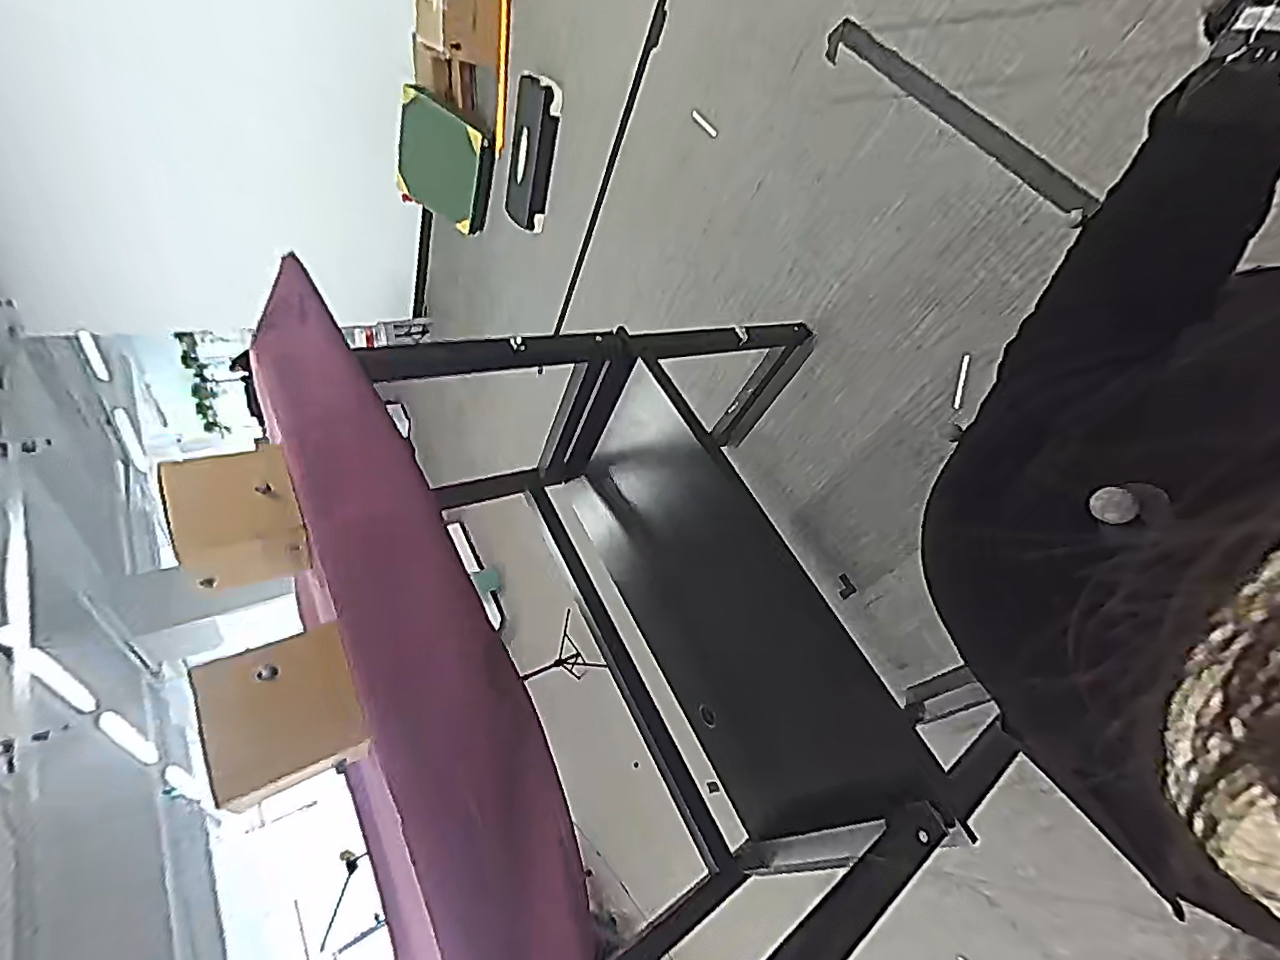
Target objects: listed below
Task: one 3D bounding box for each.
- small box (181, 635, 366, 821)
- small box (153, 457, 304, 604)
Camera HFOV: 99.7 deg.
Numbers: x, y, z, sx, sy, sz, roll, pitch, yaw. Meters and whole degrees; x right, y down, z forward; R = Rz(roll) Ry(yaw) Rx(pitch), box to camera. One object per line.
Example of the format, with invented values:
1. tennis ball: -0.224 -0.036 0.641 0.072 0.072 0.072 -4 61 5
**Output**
1. small box: -0.490 0.330 0.738 0.179 0.176 0.168 62 143 18
2. small box: -0.675 0.076 0.902 0.179 0.176 0.168 60 143 22
